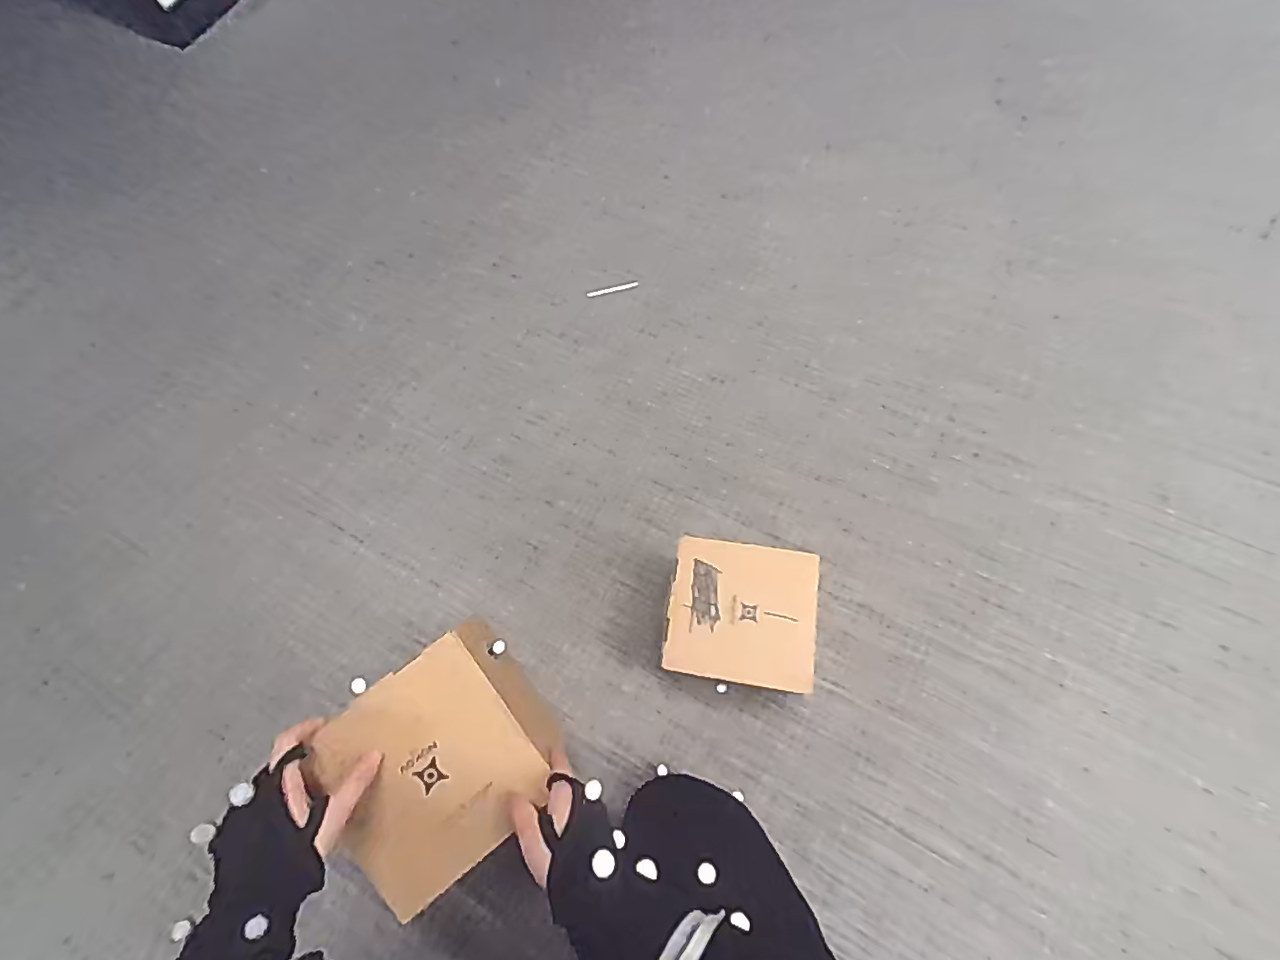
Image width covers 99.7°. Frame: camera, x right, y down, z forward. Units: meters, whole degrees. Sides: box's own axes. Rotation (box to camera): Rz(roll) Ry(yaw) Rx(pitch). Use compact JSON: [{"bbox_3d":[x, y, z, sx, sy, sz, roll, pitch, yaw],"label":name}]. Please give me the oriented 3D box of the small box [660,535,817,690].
[{"bbox_3d":[0.130,0.184,0.728,0.179,0.176,0.168,7,70,8],"label":"small box"}]
